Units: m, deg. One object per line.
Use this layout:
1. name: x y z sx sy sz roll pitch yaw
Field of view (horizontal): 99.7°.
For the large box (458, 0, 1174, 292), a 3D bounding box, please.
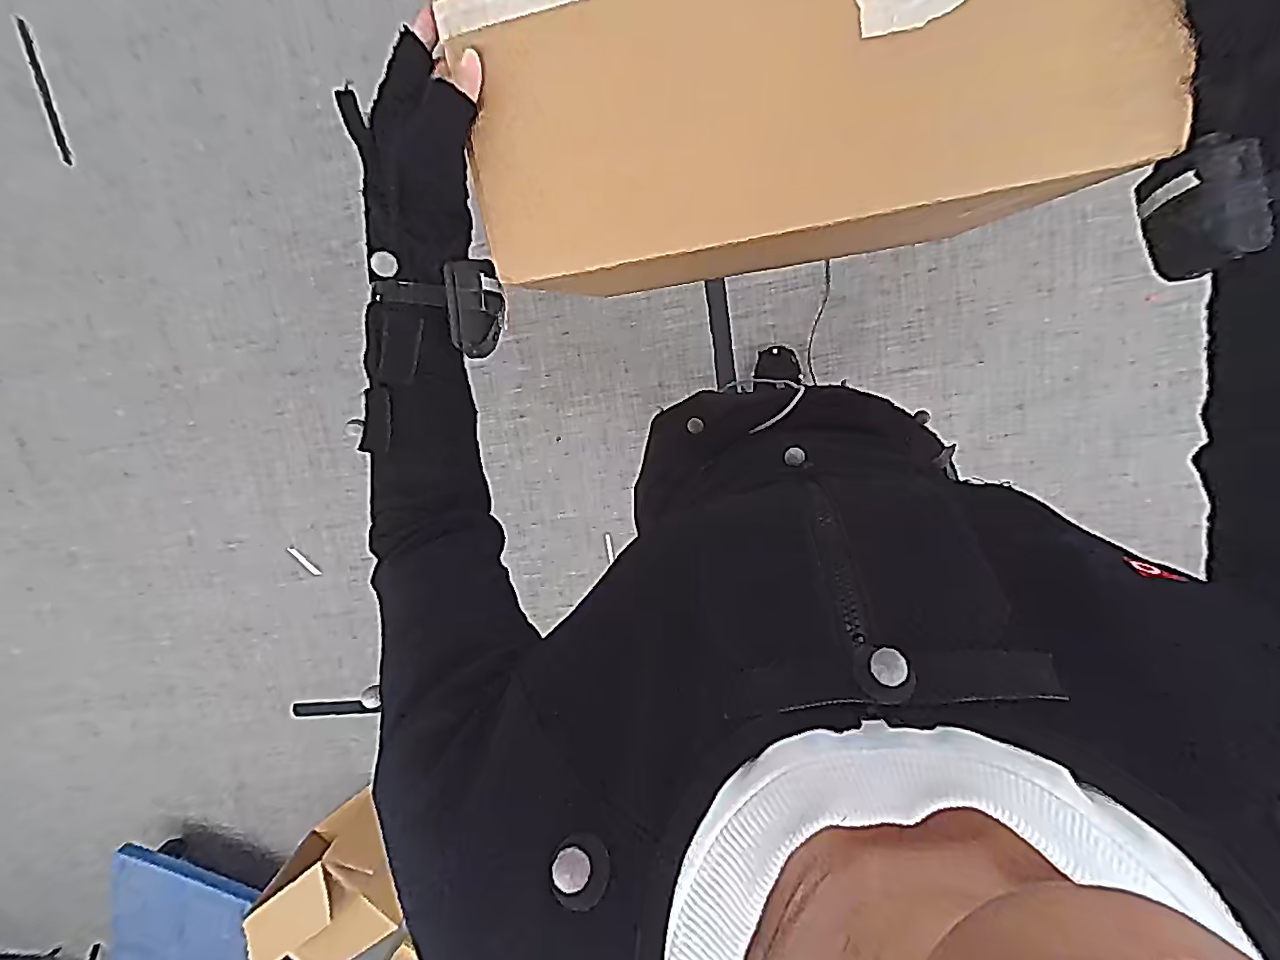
1. large box: 0.099 -0.358 0.446 0.408 0.320 0.320 -7 106 11
